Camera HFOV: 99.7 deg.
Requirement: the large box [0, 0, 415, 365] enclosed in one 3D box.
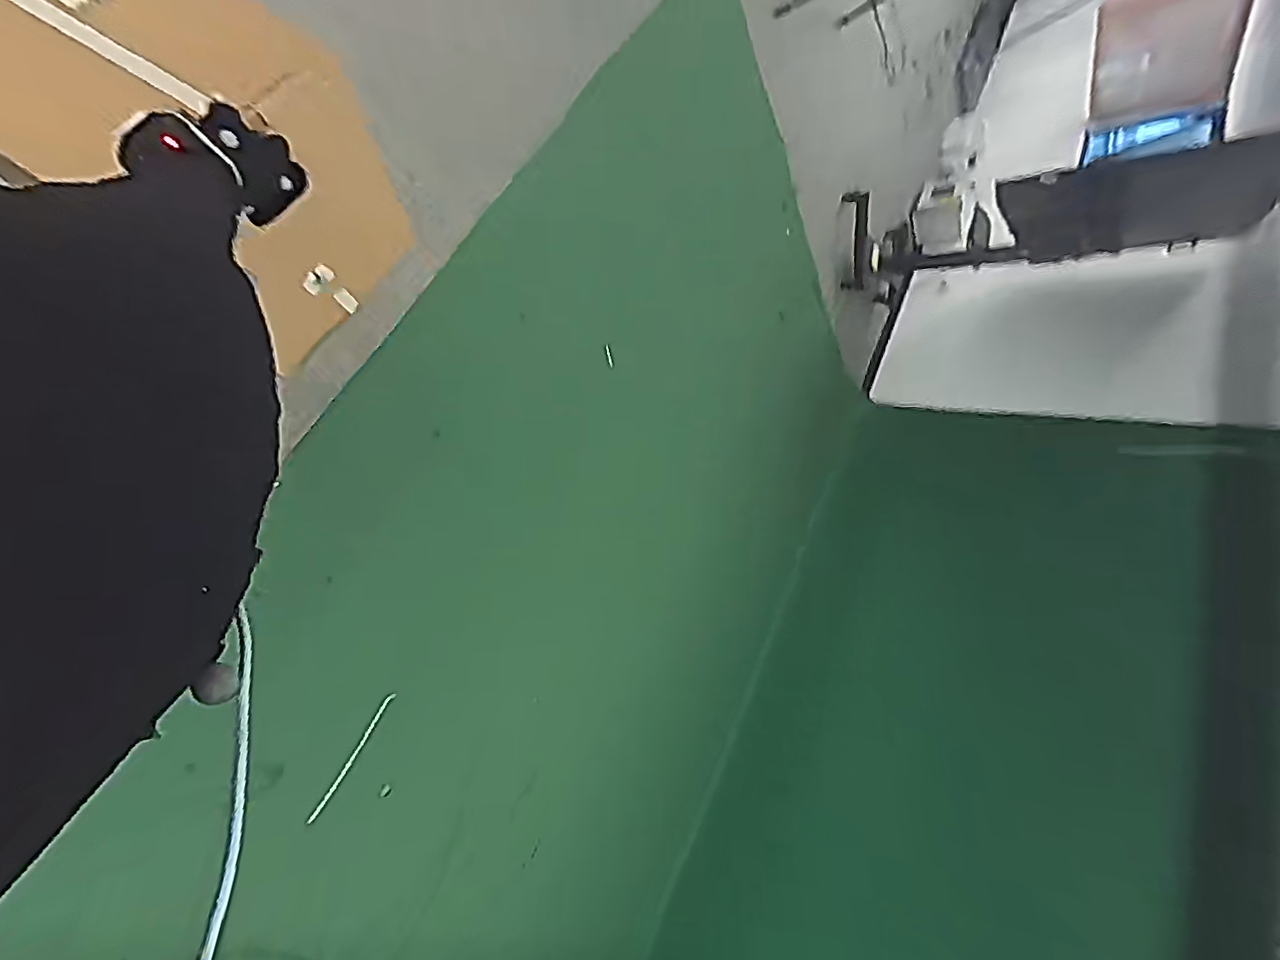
[{"bbox_3d":[-0.613,-0.434,0.754,0.320,0.408,0.320,-56,172,-18],"label":"large box"}]
